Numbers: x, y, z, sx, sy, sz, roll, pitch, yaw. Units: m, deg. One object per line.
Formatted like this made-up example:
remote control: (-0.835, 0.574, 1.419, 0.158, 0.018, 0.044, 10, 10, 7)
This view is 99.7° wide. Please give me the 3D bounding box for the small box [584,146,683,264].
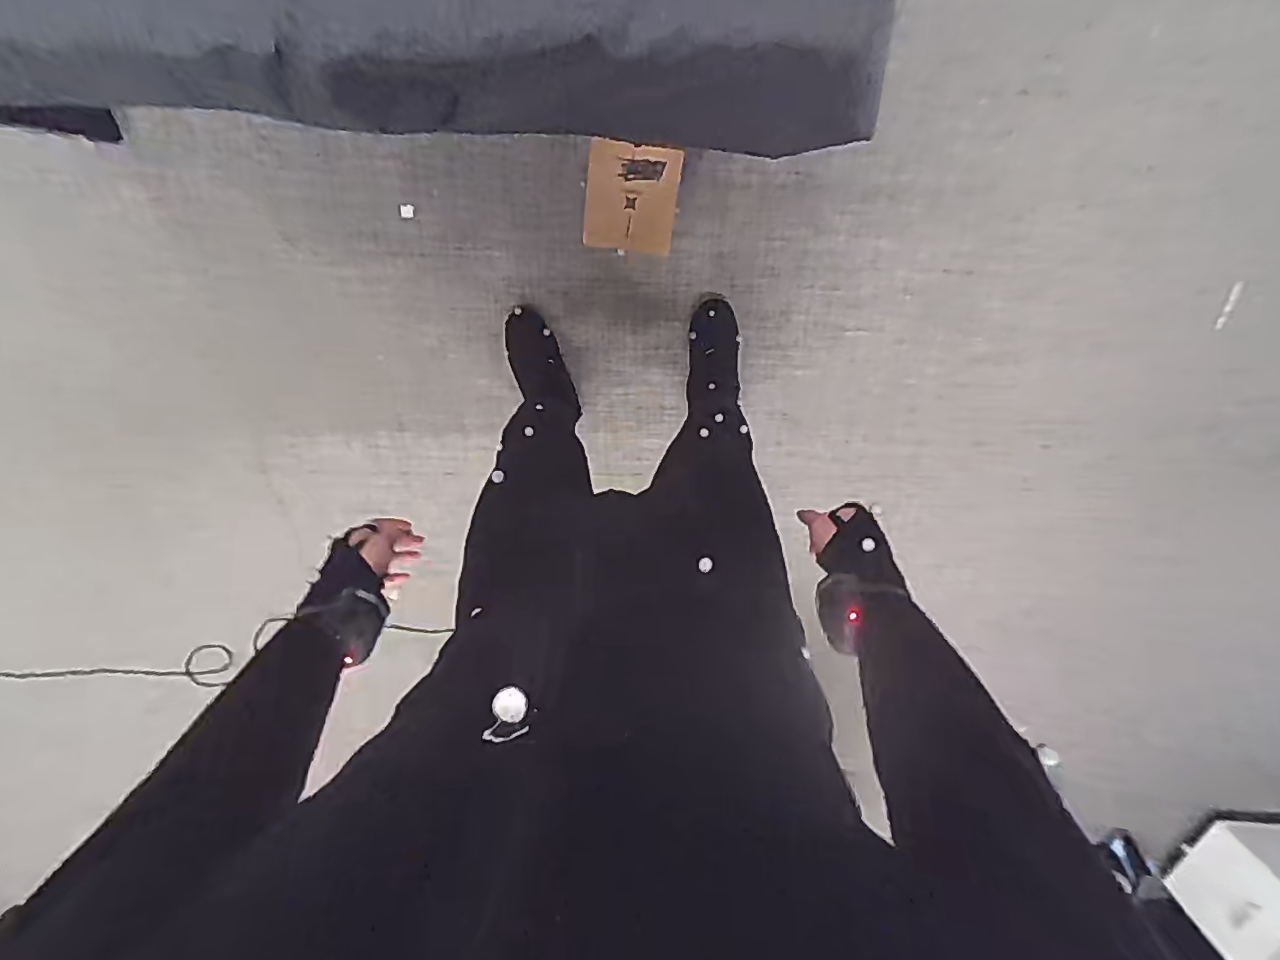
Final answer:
small box: (-0.017, -0.528, 1.053, 0.168, 0.176, 0.179, 5, 115, -4)
